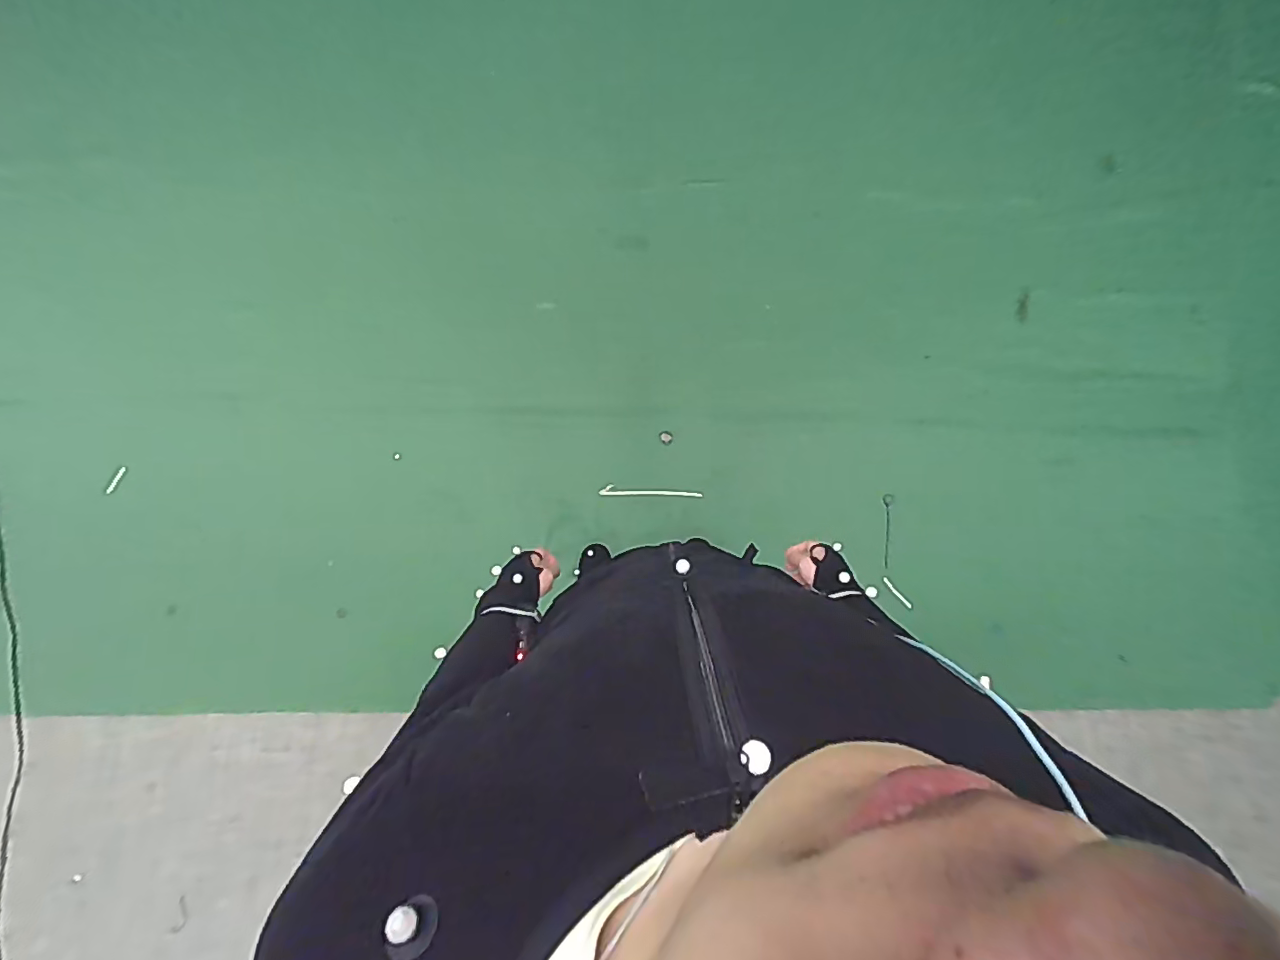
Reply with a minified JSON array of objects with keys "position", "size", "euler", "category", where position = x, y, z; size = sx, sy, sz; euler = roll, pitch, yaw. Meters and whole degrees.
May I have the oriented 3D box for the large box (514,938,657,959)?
[{"position":[-0.159,1.442,1.354],"size":[0.408,0.320,0.320],"euler":[11,84,-1],"category":"large box"}]
